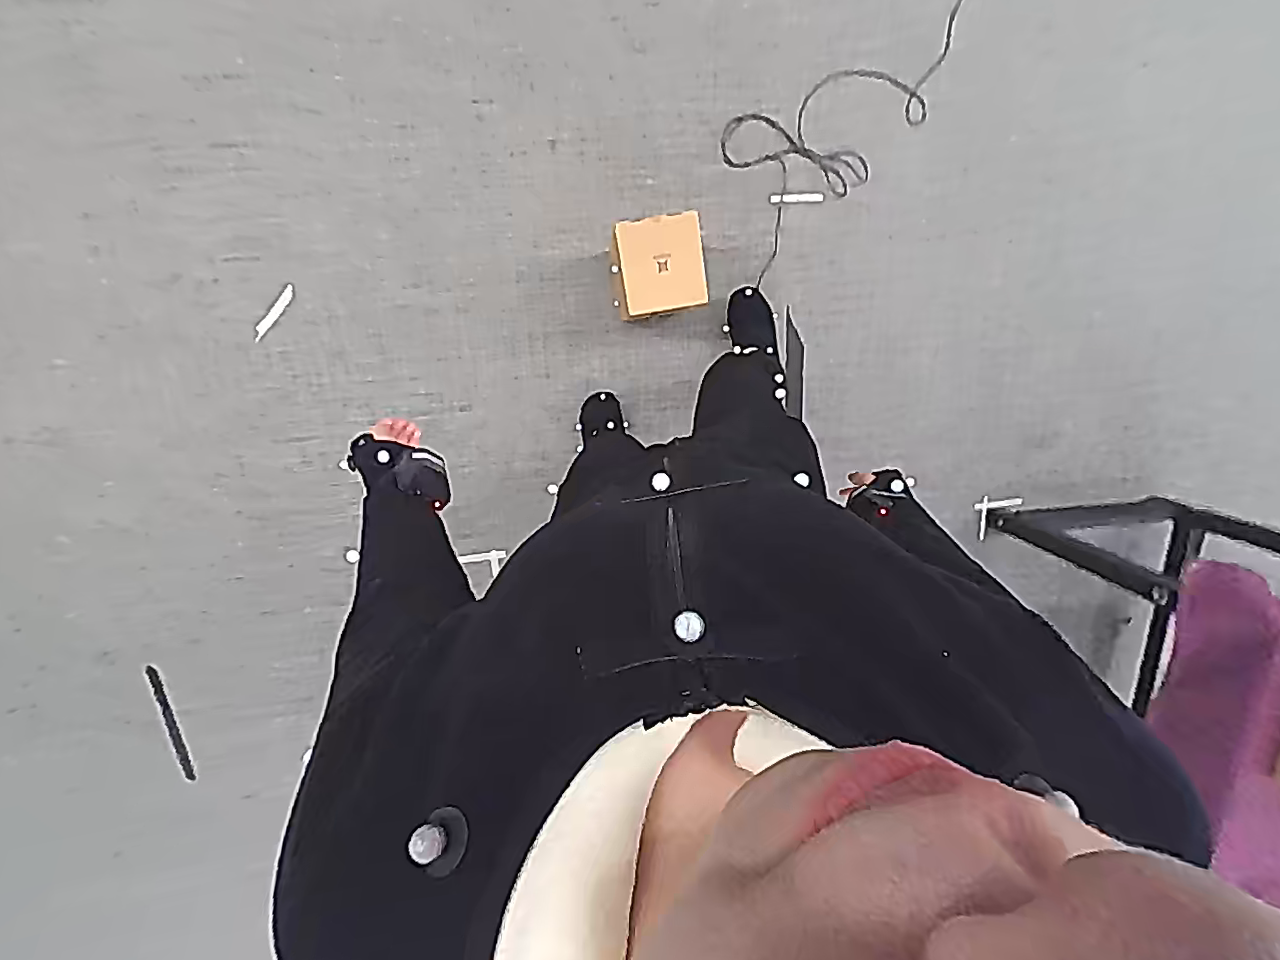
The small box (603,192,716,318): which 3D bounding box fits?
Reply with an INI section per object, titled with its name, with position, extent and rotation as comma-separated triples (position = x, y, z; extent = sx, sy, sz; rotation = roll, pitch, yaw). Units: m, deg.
[small box]
position = 0.044, -0.453, 1.100
extent = 0.179, 0.176, 0.168
rotation = -11, 87, 16
